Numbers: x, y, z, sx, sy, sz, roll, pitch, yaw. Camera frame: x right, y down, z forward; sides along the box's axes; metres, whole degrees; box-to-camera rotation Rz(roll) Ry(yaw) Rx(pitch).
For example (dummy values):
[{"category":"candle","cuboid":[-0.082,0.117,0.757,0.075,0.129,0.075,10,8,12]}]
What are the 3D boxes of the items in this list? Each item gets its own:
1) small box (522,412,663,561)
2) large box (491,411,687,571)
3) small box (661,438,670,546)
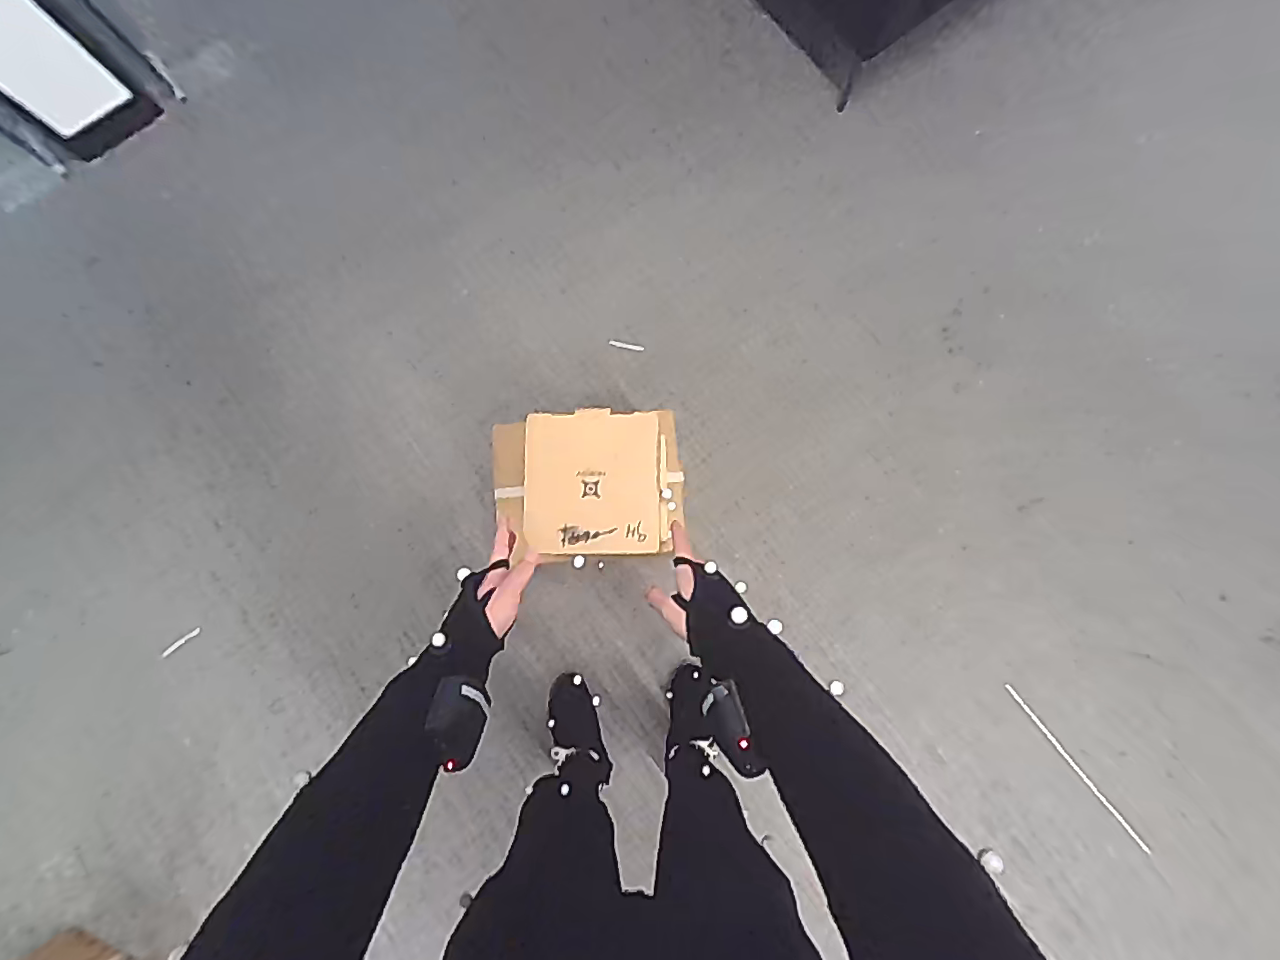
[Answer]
[{"category":"small box","cuboid":[-0.054,0.017,0.724,0.168,0.176,0.179,0,80,3]},{"category":"large box","cuboid":[-0.108,0.044,1.300,0.408,0.320,0.320,-6,79,1]},{"category":"small box","cuboid":[-0.043,0.027,0.888,0.179,0.176,0.168,-2,81,2]}]
